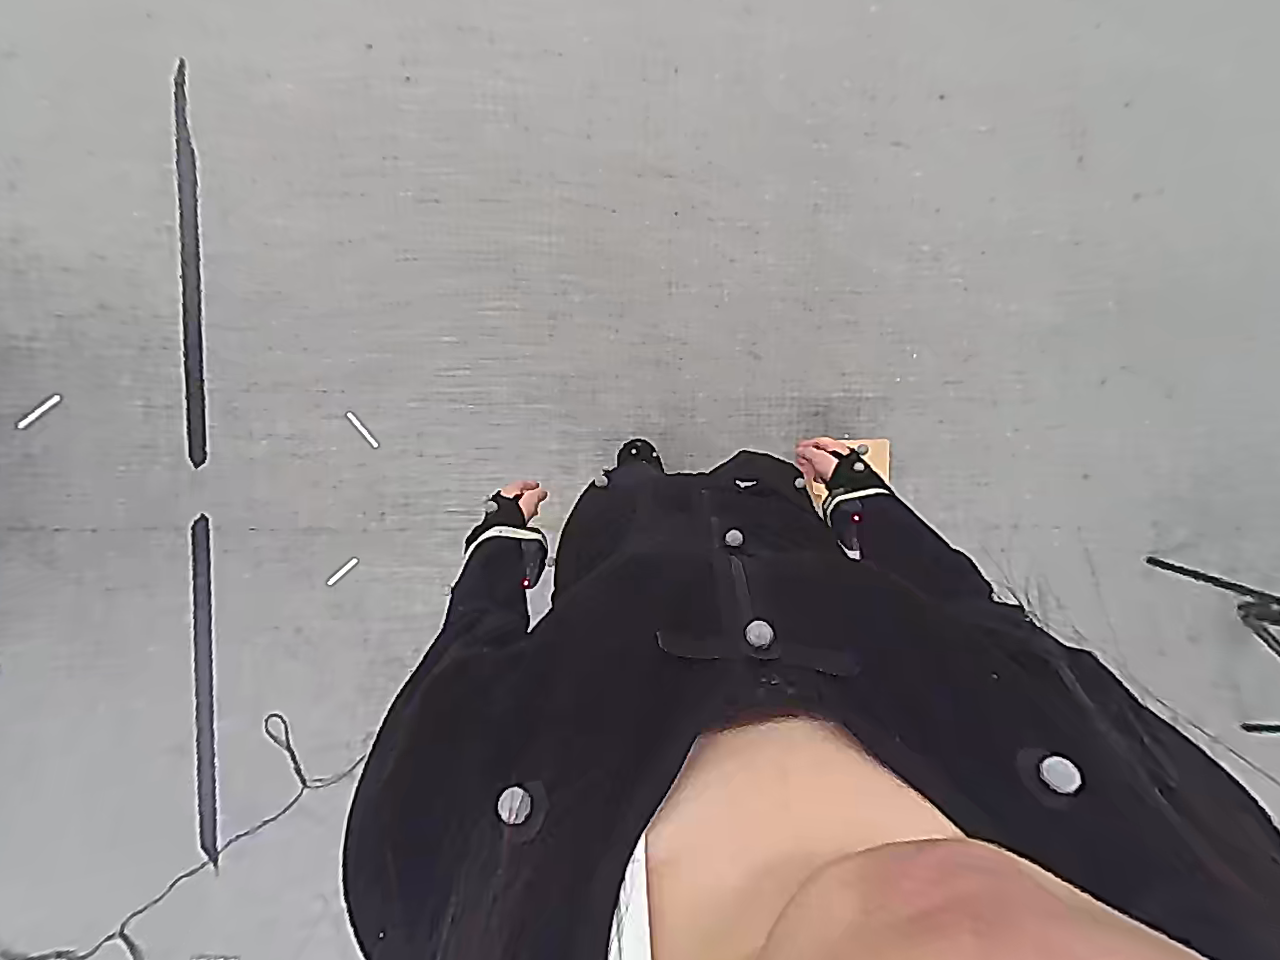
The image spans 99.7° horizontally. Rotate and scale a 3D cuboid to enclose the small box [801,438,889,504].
[{"bbox_3d":[0.530,-0.026,1.419,0.179,0.176,0.168,-1,94,-1],"label":"small box"}]
